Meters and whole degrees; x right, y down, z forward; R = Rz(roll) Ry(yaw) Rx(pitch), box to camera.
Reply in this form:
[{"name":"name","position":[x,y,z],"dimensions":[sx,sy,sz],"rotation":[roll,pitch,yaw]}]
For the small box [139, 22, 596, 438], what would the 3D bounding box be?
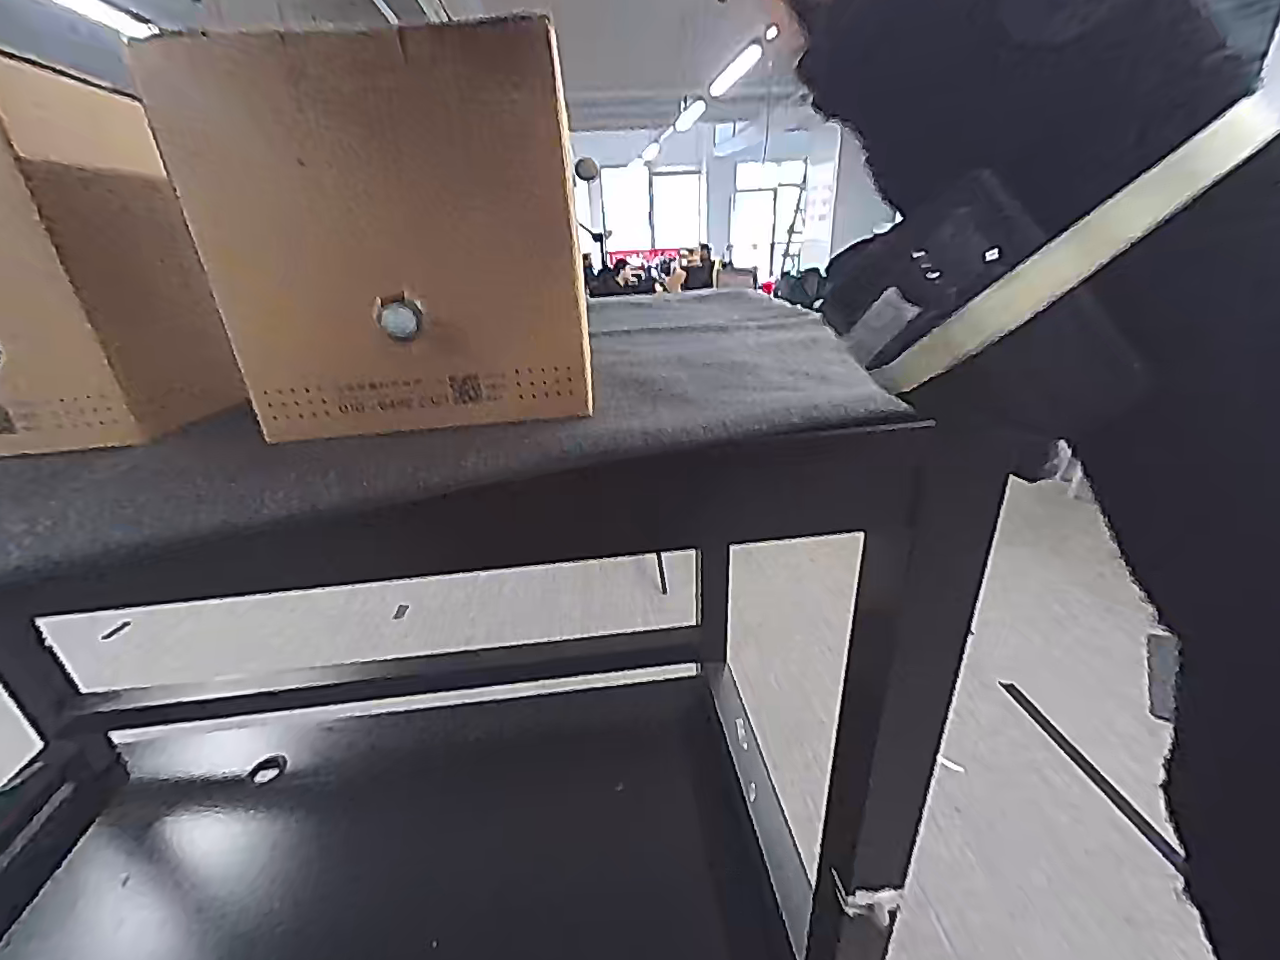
[{"name":"small box","position":[-0.117,-0.133,0.321],"dimensions":[0.168,0.176,0.179],"rotation":[-7,24,-3]}]
